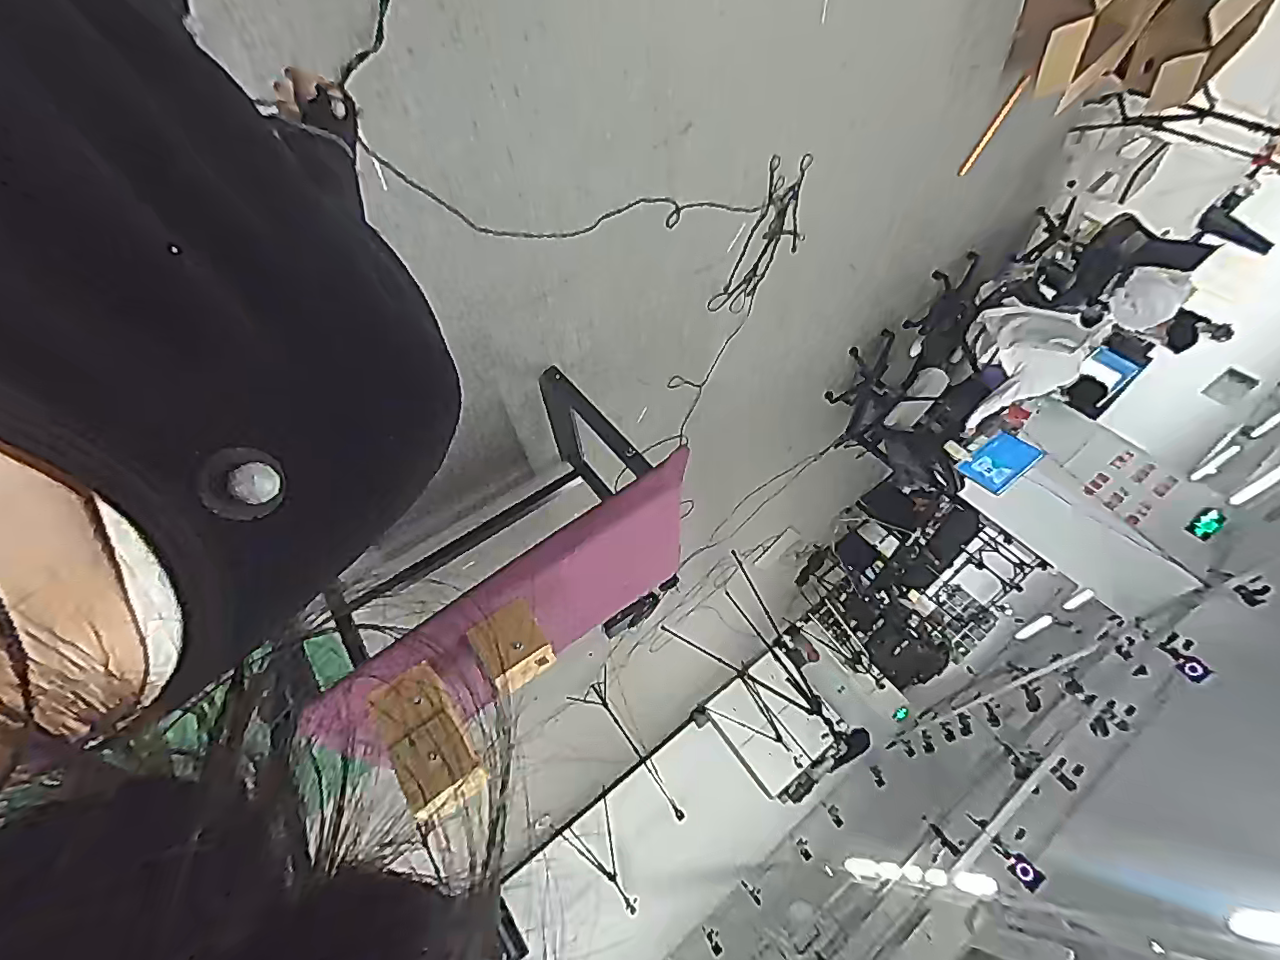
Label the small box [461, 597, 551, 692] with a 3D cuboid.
[{"bbox_3d":[-0.379,0.464,1.540,0.179,0.176,0.168,-31,151,-20],"label":"small box"}]

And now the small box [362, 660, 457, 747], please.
[{"bbox_3d":[-0.613,0.610,1.446,0.168,0.176,0.179,-30,149,-24],"label":"small box"}]

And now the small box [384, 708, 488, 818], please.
[{"bbox_3d":[-0.512,0.705,1.356,0.168,0.176,0.179,-31,150,-21],"label":"small box"}]
